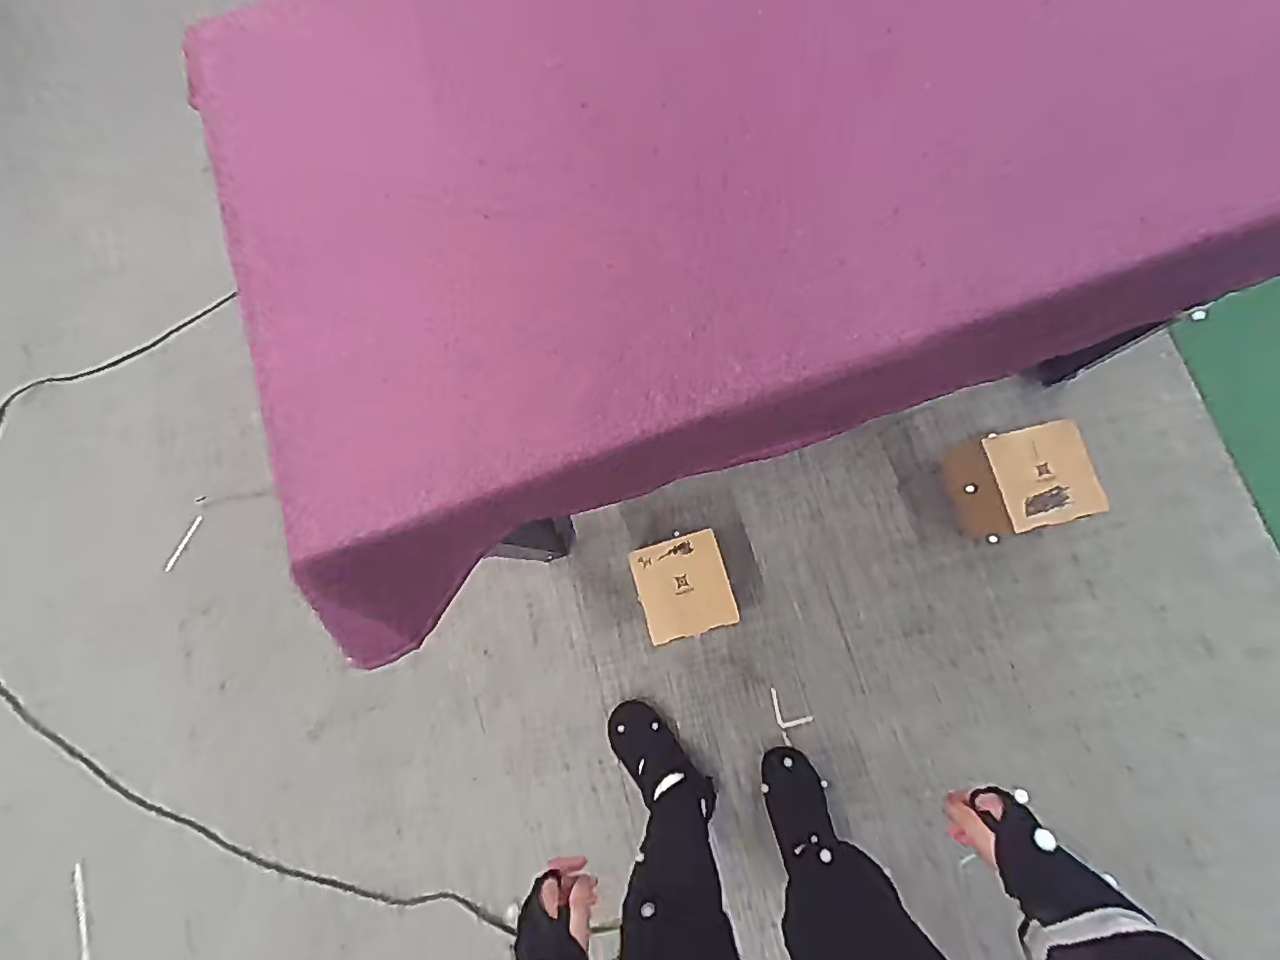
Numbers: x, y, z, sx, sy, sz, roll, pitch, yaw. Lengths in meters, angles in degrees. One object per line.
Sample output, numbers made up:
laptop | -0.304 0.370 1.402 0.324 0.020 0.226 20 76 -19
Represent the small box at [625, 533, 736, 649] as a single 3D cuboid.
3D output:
small box | 0.080 0.212 1.060 0.168 0.176 0.179 -18 79 1
